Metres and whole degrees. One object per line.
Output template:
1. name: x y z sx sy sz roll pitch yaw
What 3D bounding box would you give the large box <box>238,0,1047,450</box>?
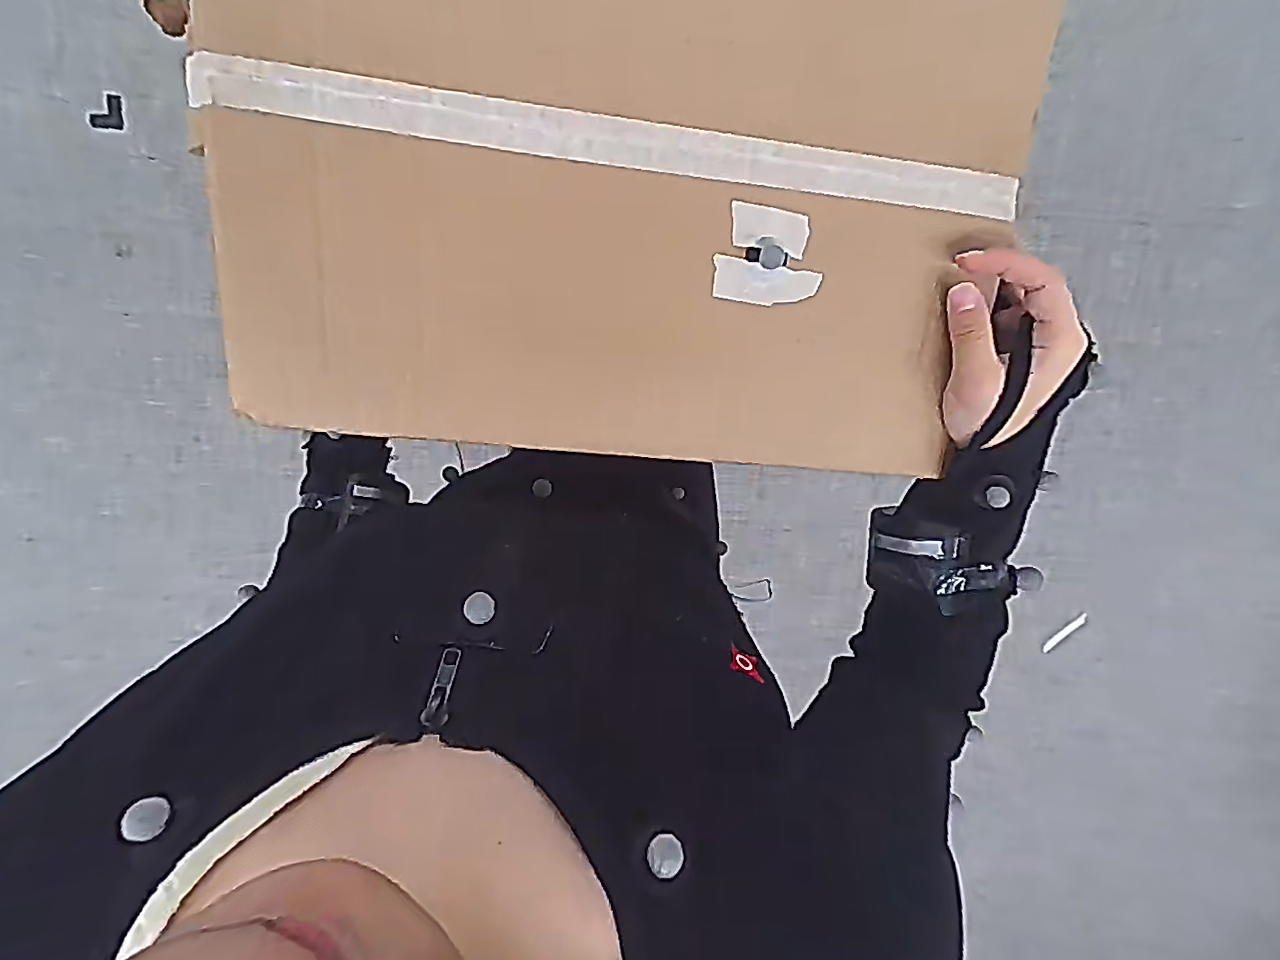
1. large box: -0.010 -0.212 0.422 0.408 0.320 0.320 4 105 -9
